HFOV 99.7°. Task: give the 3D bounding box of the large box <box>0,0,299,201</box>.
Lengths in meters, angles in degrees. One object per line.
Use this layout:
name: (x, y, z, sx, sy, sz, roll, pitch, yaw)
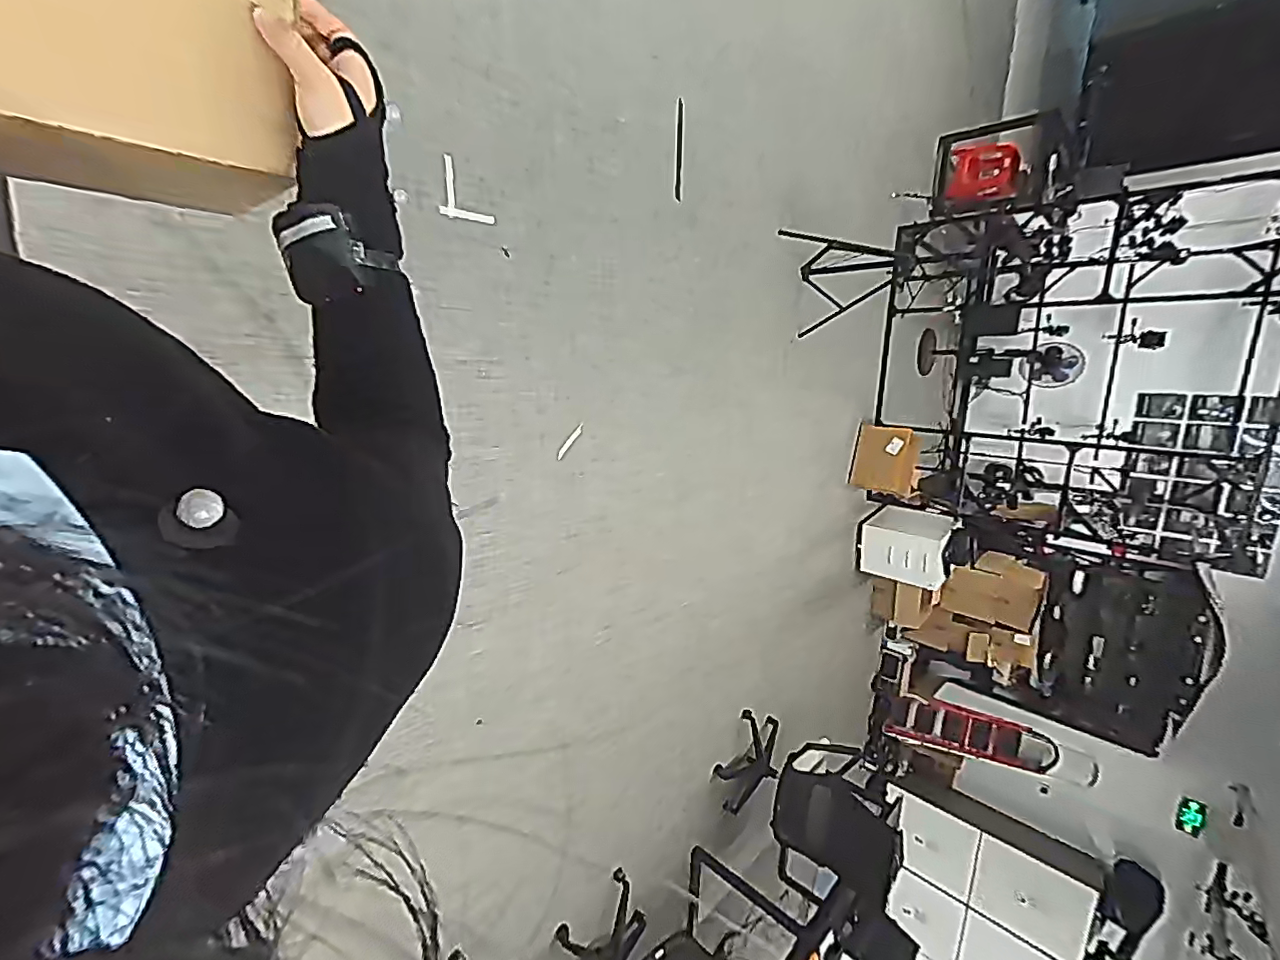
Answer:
large box: (-0.505, -0.405, 0.363, 0.408, 0.320, 0.320, -9, 110, -42)
